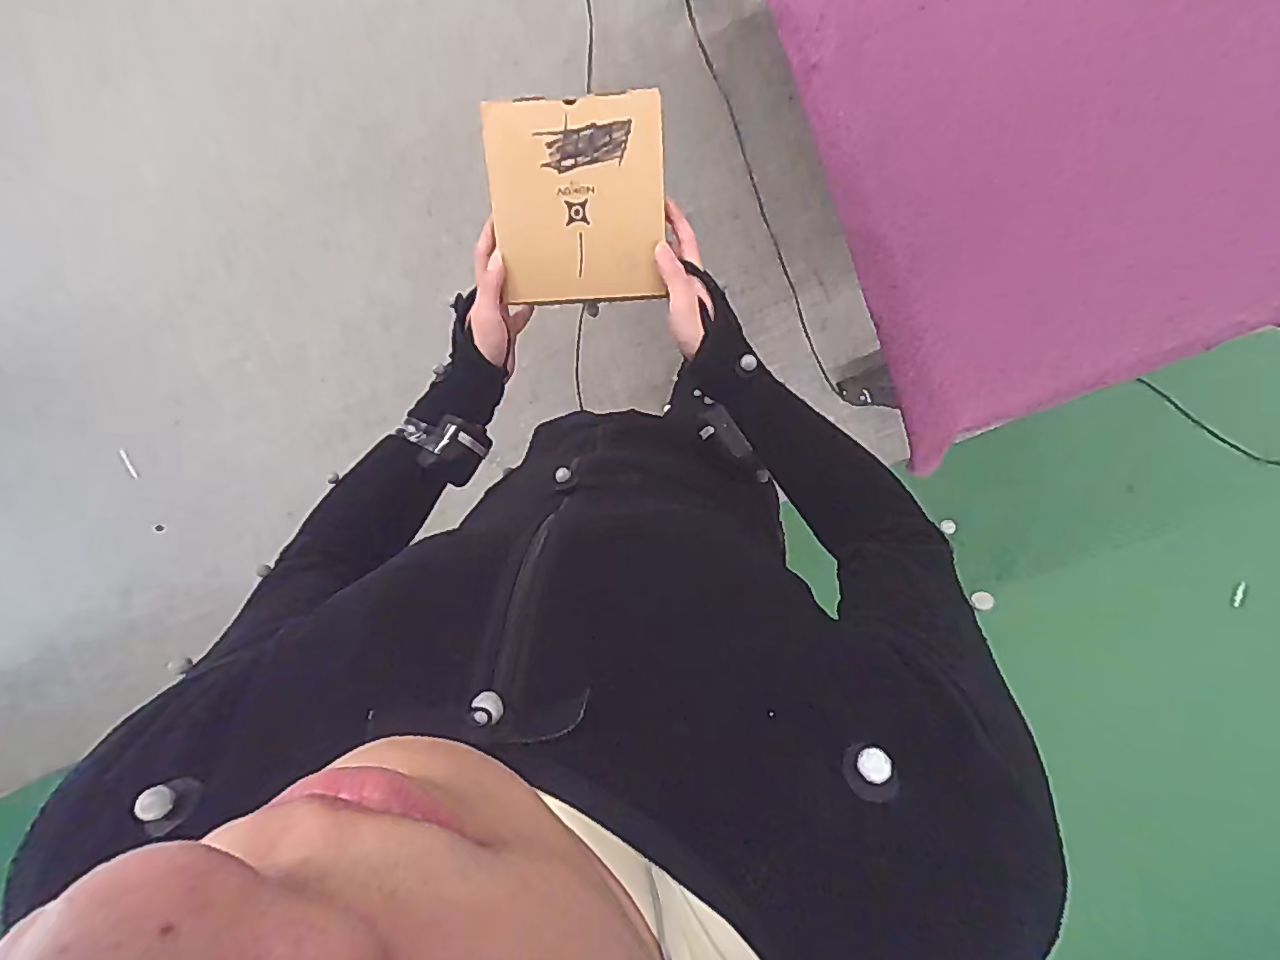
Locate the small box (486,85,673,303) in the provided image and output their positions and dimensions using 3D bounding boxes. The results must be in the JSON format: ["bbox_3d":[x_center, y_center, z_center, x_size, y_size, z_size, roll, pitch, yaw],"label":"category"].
[{"bbox_3d":[-0.052,-0.286,0.579,0.168,0.176,0.179,-2,108,3],"label":"small box"}]
